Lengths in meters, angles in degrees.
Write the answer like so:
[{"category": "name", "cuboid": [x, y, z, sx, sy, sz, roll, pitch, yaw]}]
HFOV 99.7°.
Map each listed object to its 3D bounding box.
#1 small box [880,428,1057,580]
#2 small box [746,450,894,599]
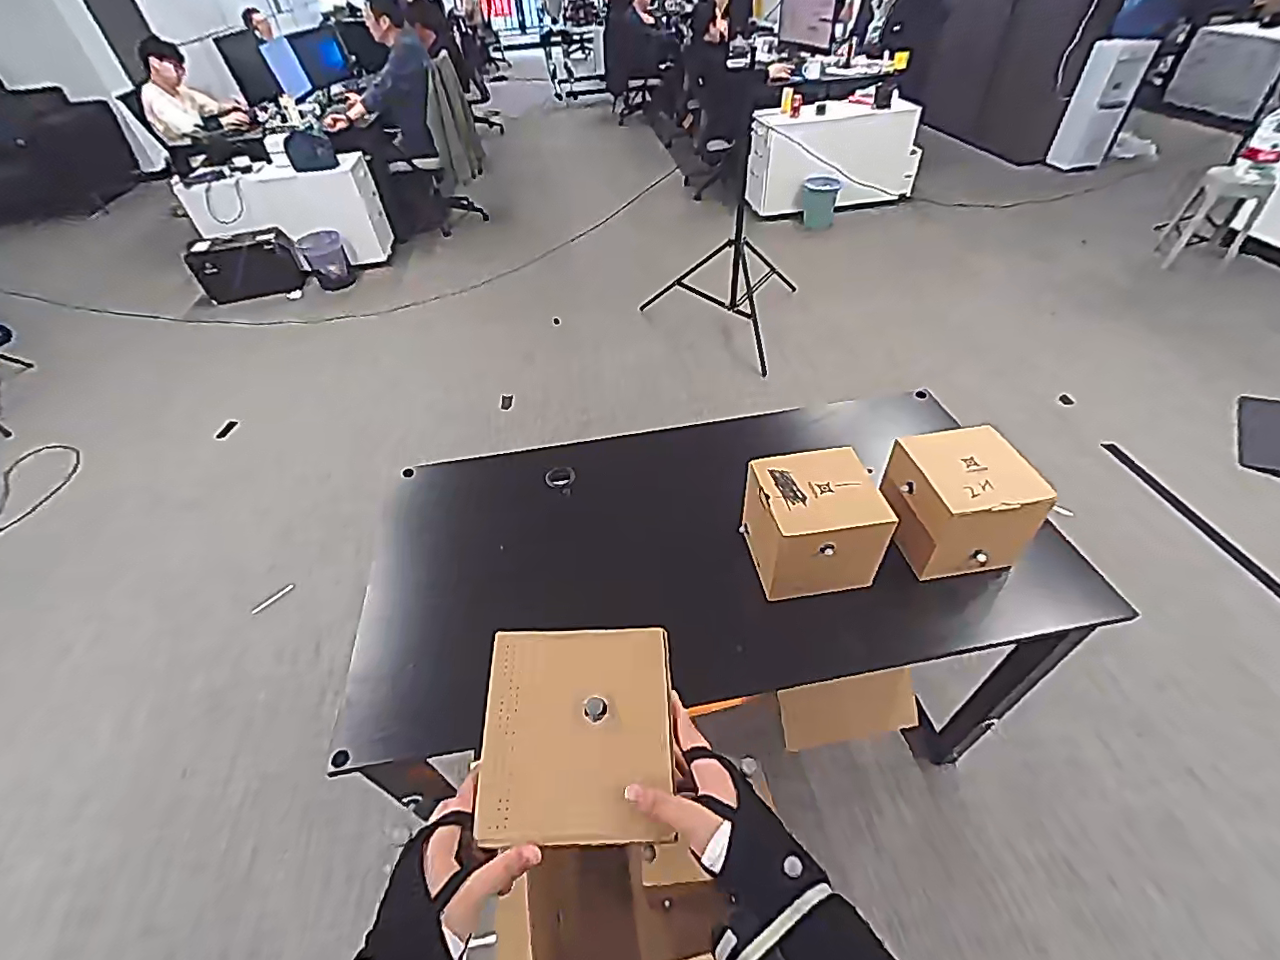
[{"category": "small box", "cuboid": [0.519, 0.040, 0.894, 0.168, 0.176, 0.179, -8, 45, -3]}, {"category": "small box", "cuboid": [0.276, 0.076, 0.881, 0.179, 0.176, 0.168, -7, 45, -4]}]
